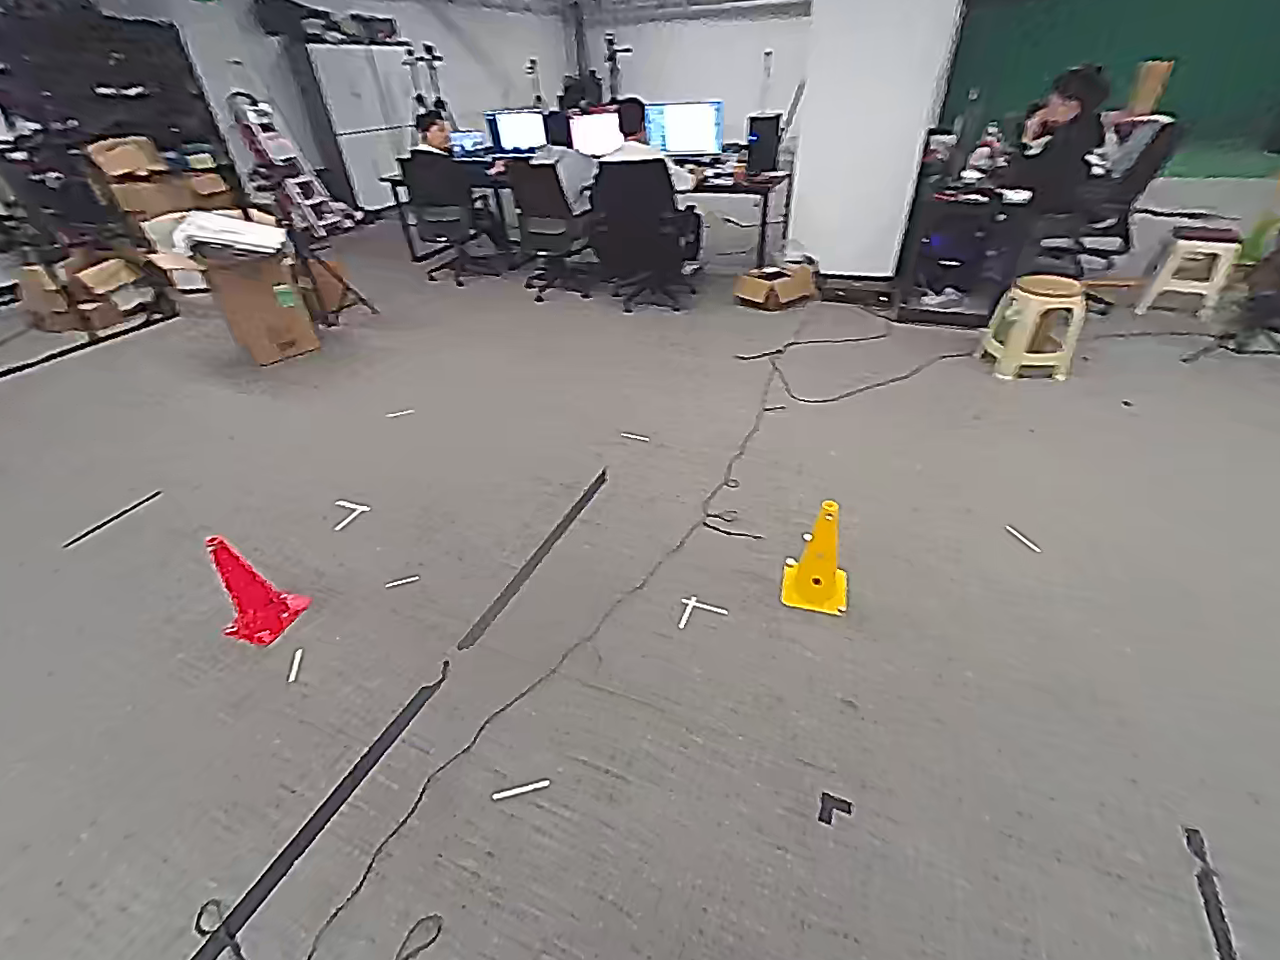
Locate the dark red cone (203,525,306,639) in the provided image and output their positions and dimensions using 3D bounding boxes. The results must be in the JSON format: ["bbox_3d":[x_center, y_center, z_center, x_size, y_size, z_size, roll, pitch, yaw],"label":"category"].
[{"bbox_3d":[-1.258,0.302,1.700,0.201,0.394,0.202,8,38,14],"label":"dark red cone"}]
